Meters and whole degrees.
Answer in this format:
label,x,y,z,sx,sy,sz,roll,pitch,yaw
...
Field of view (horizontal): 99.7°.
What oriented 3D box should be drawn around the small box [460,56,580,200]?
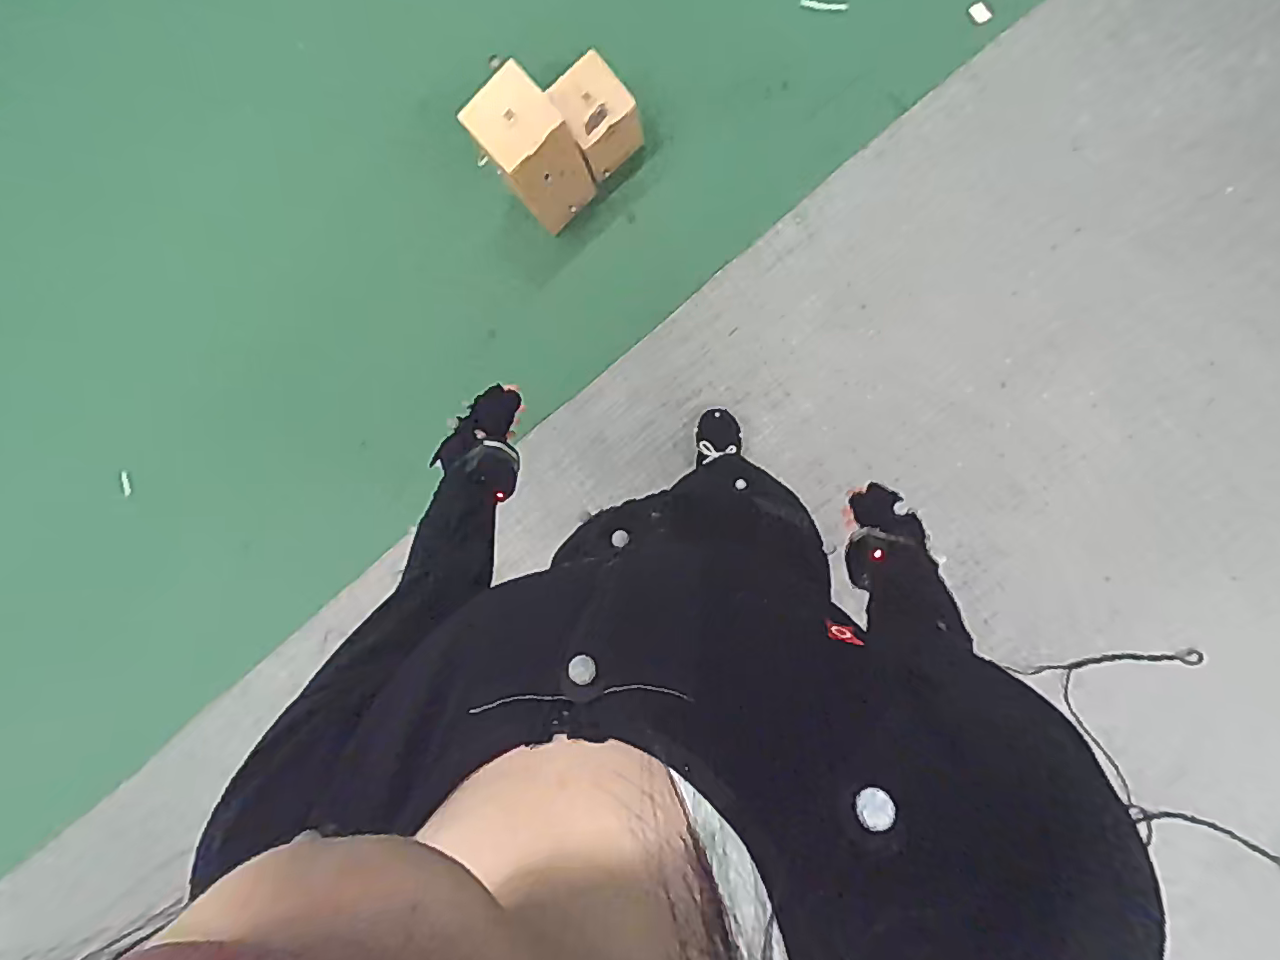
label,x,y,z,sx,sy,sz,roll,pitch,yaw
small box,-0.260,-0.775,1.214,0.168,0.176,0.179,-42,89,7
